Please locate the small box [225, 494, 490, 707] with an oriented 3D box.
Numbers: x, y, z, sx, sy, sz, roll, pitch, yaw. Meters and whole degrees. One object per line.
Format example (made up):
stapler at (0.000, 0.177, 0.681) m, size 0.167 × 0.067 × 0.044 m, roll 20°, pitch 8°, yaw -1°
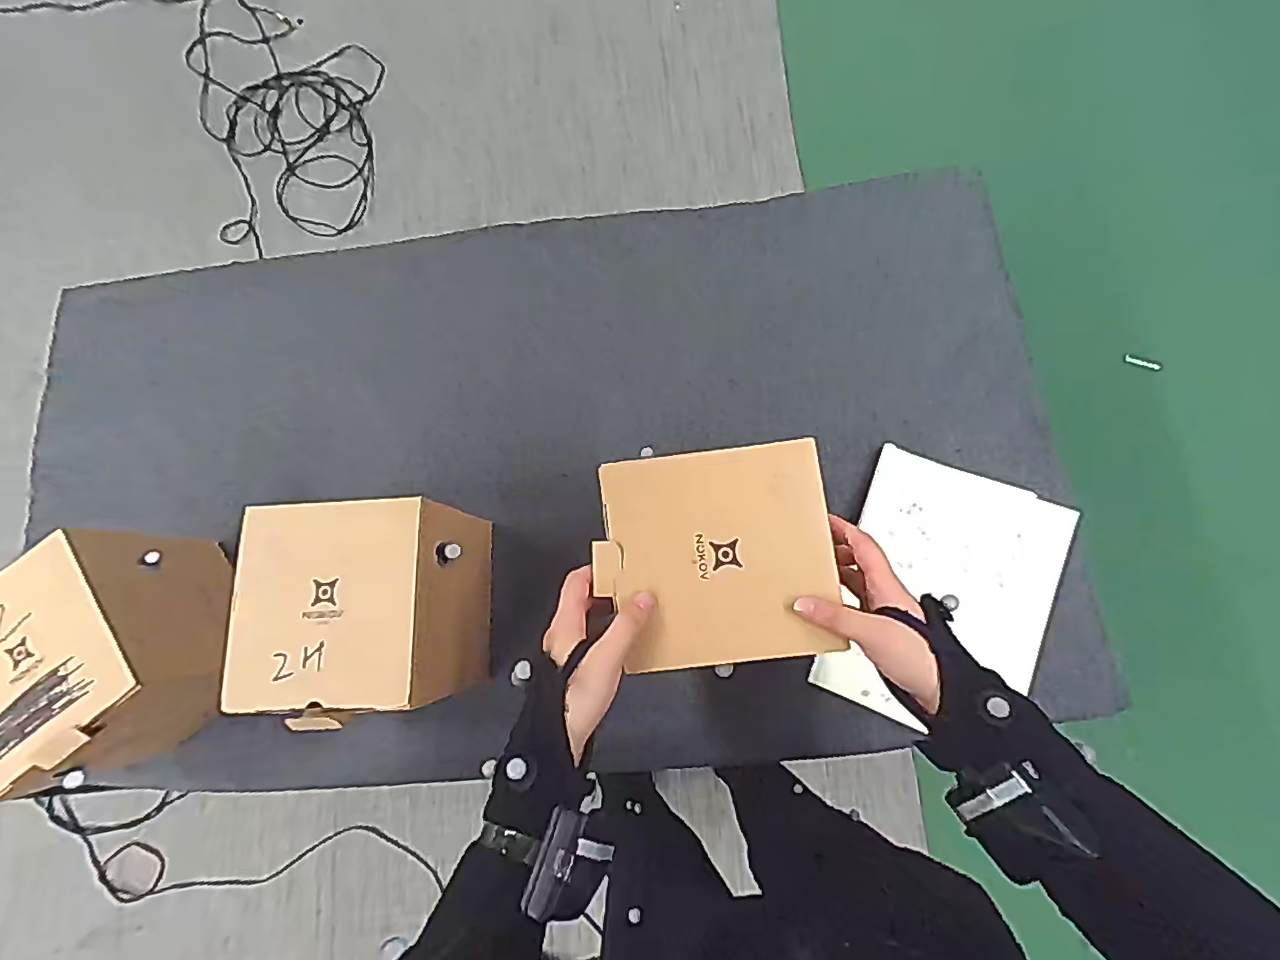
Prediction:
small box at (-0.259, 0.117, 0.538) m, size 0.168 × 0.176 × 0.179 m, roll -4°, pitch 78°, yaw 6°
